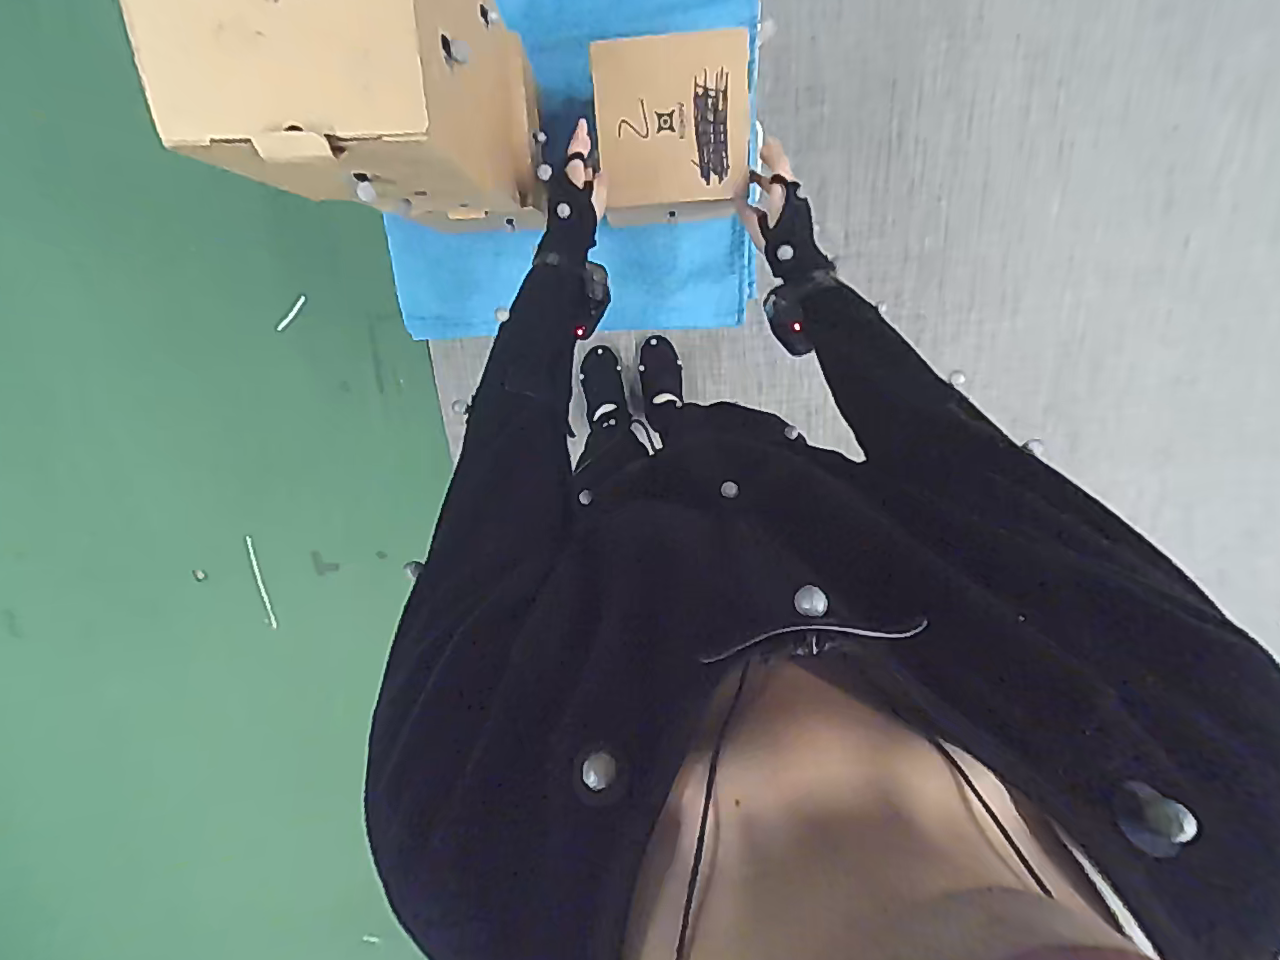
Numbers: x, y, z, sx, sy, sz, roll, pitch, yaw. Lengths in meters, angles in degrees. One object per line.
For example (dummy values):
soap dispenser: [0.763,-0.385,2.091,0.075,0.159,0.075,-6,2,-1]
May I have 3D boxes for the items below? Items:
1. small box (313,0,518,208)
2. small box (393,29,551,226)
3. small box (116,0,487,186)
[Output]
small box: [-0.219,-0.372,0.525,0.168,0.176,0.179,0,107,-1]
small box: [-0.208,-0.422,0.679,0.168,0.176,0.179,-2,107,-1]
small box: [-0.211,-0.313,0.371,0.168,0.176,0.179,-1,107,-1]
